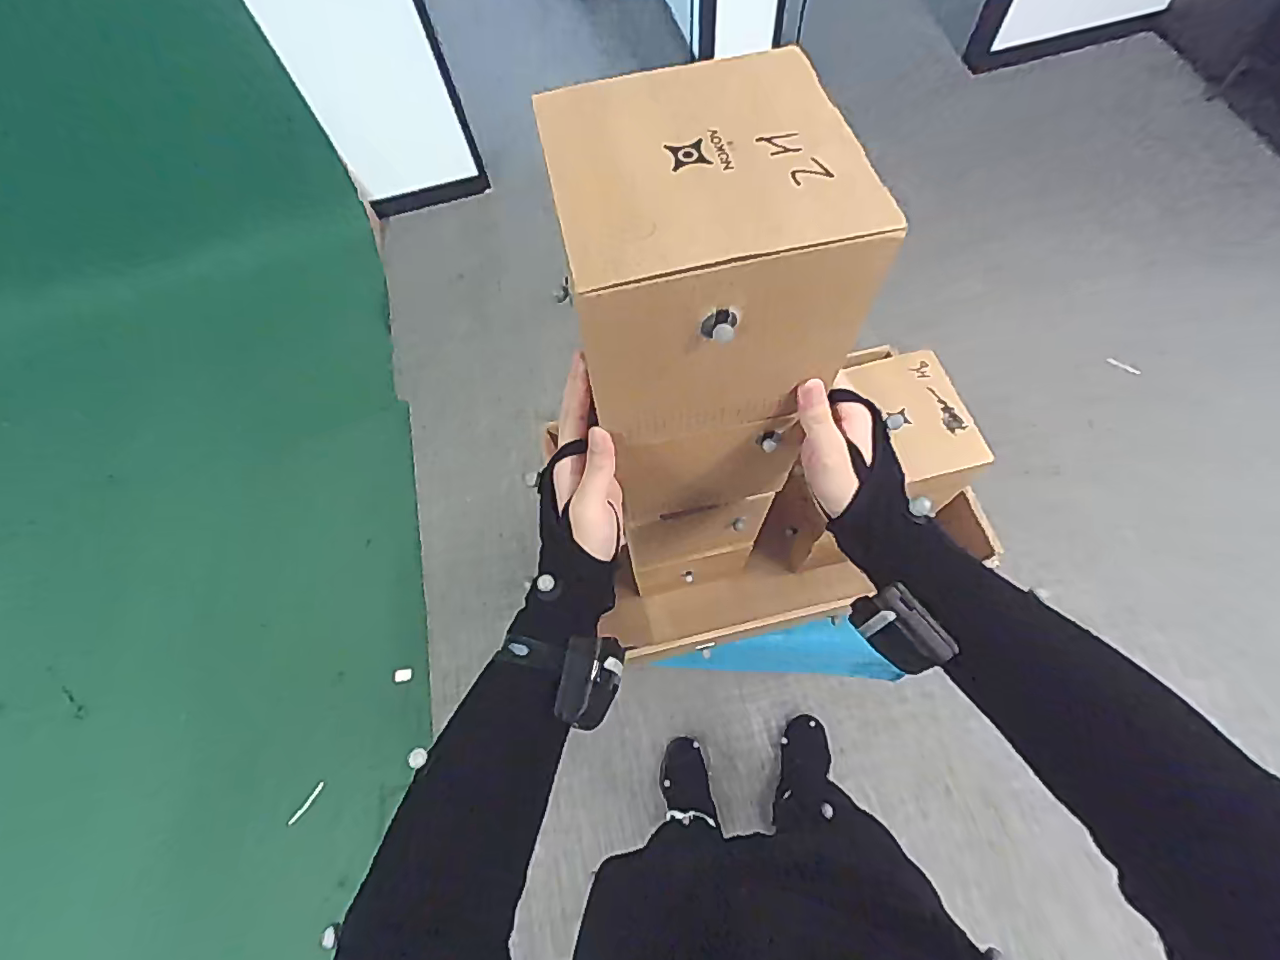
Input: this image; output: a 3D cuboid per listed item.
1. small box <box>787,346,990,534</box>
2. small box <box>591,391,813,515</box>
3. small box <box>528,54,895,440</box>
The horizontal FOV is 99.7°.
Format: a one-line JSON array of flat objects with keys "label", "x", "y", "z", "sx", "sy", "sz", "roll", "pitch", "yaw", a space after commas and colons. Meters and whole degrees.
[{"label": "small box", "x": 0.303, "y": -0.042, "z": 0.711, "sx": 0.179, "sy": 0.176, "sz": 0.168, "roll": -15, "pitch": 66, "yaw": 1}, {"label": "small box", "x": 0.041, "y": -0.079, "z": 0.527, "sx": 0.179, "sy": 0.176, "sz": 0.168, "roll": -12, "pitch": 66, "yaw": -3}, {"label": "small box", "x": 0.034, "y": -0.145, "z": 0.375, "sx": 0.179, "sy": 0.176, "sz": 0.168, "roll": -12, "pitch": 66, "yaw": -4}]
